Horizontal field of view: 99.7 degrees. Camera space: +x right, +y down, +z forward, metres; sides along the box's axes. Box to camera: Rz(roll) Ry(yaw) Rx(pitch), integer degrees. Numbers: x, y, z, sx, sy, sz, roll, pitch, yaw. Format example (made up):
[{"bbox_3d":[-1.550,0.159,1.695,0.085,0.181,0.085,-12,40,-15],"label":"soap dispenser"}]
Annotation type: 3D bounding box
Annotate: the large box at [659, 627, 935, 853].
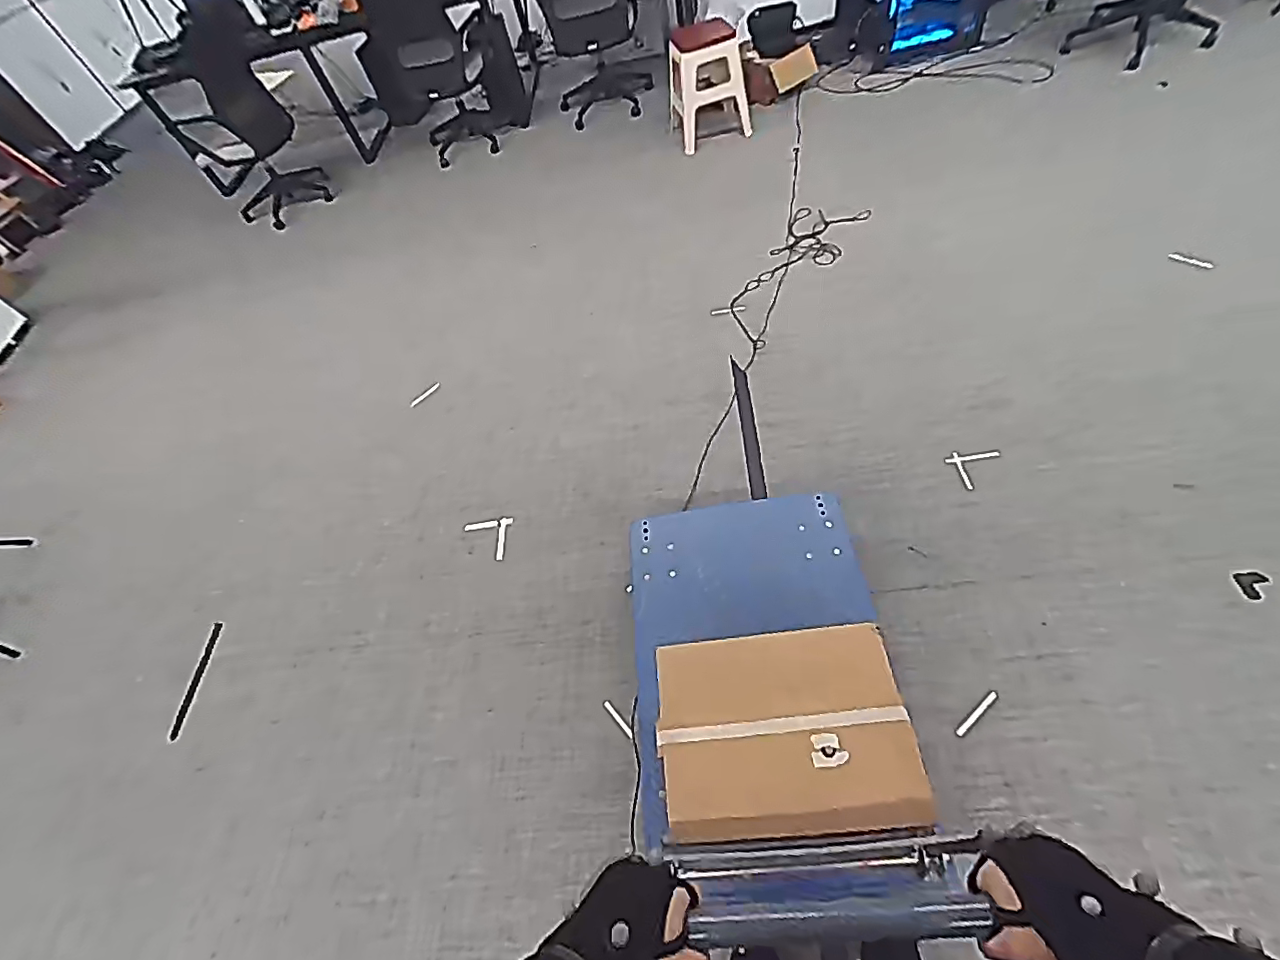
[{"bbox_3d":[0.265,0.508,1.035,0.408,0.320,0.320,-9,54,6],"label":"large box"}]
